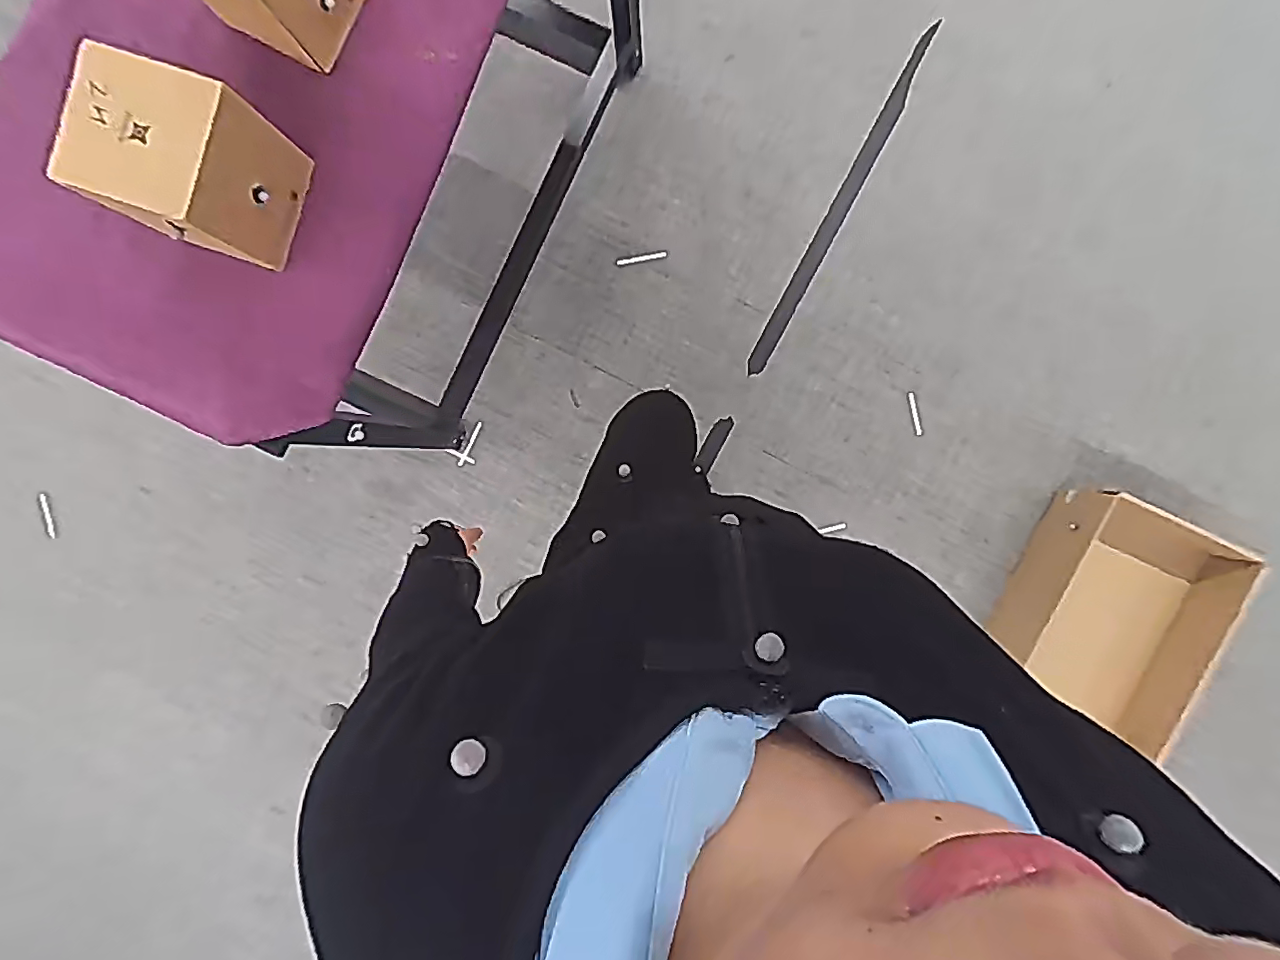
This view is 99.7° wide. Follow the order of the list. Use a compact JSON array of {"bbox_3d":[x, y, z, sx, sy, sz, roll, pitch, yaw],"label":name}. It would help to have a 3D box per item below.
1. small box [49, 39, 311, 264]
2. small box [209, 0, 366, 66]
[{"bbox_3d":[-0.571,-0.402,0.697,0.179,0.176,0.168,19,92,2],"label":"small box"},{"bbox_3d":[-0.485,-0.687,0.688,0.179,0.176,0.168,28,93,1],"label":"small box"}]
